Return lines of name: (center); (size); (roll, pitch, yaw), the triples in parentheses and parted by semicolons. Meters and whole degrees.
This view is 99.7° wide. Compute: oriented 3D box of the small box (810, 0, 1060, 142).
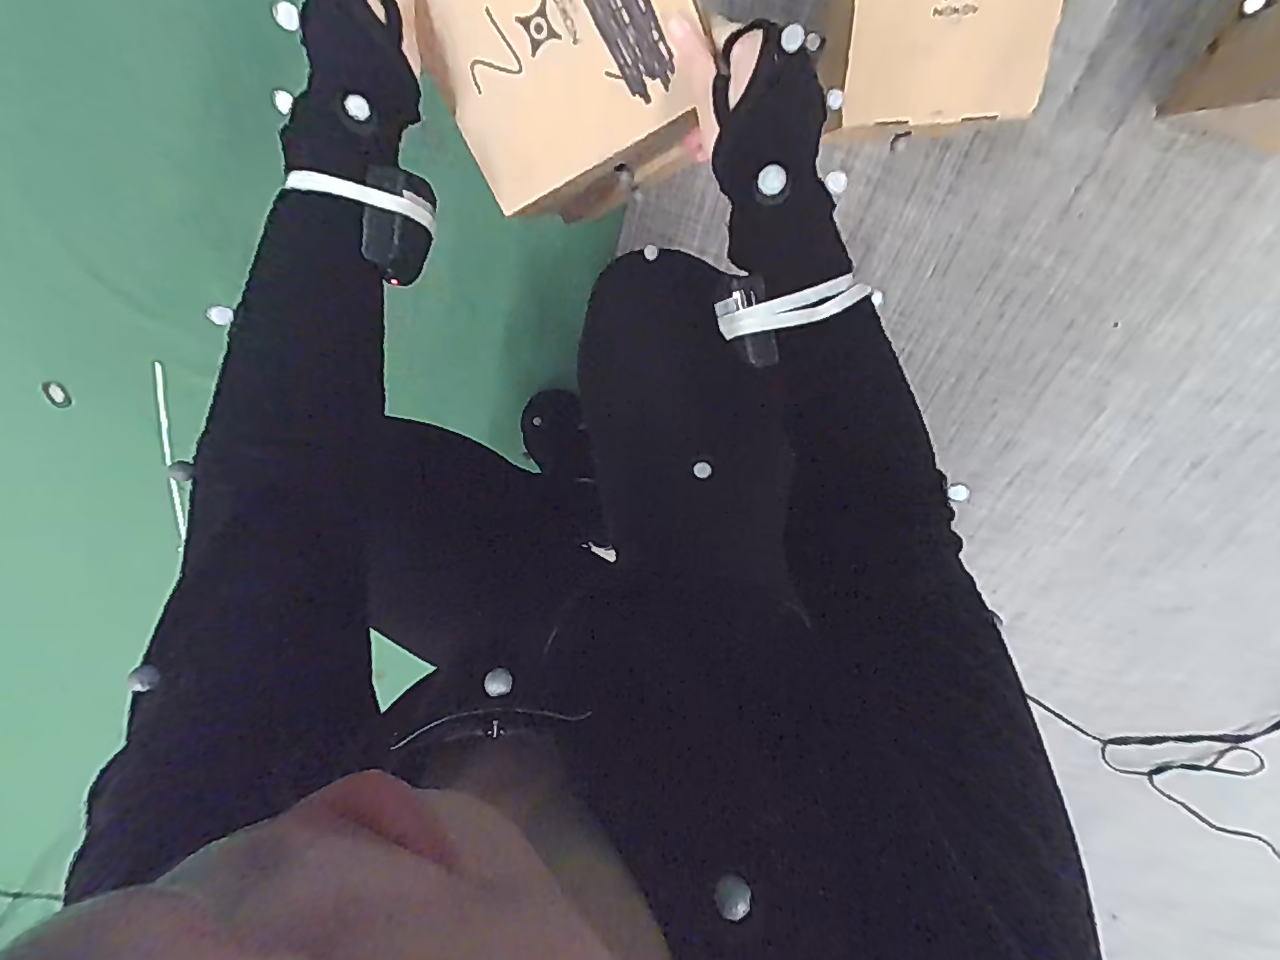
small box: (0.265, -0.426, 0.513); (0.168, 0.176, 0.179); (1, 119, 5)

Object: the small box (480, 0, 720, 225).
small box: (-0.027, -0.388, 0.565); (0.179, 0.176, 0.168); (-23, 112, 16)

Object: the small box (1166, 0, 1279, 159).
small box: (0.661, -0.399, 0.484); (0.179, 0.176, 0.168); (15, 118, -3)
